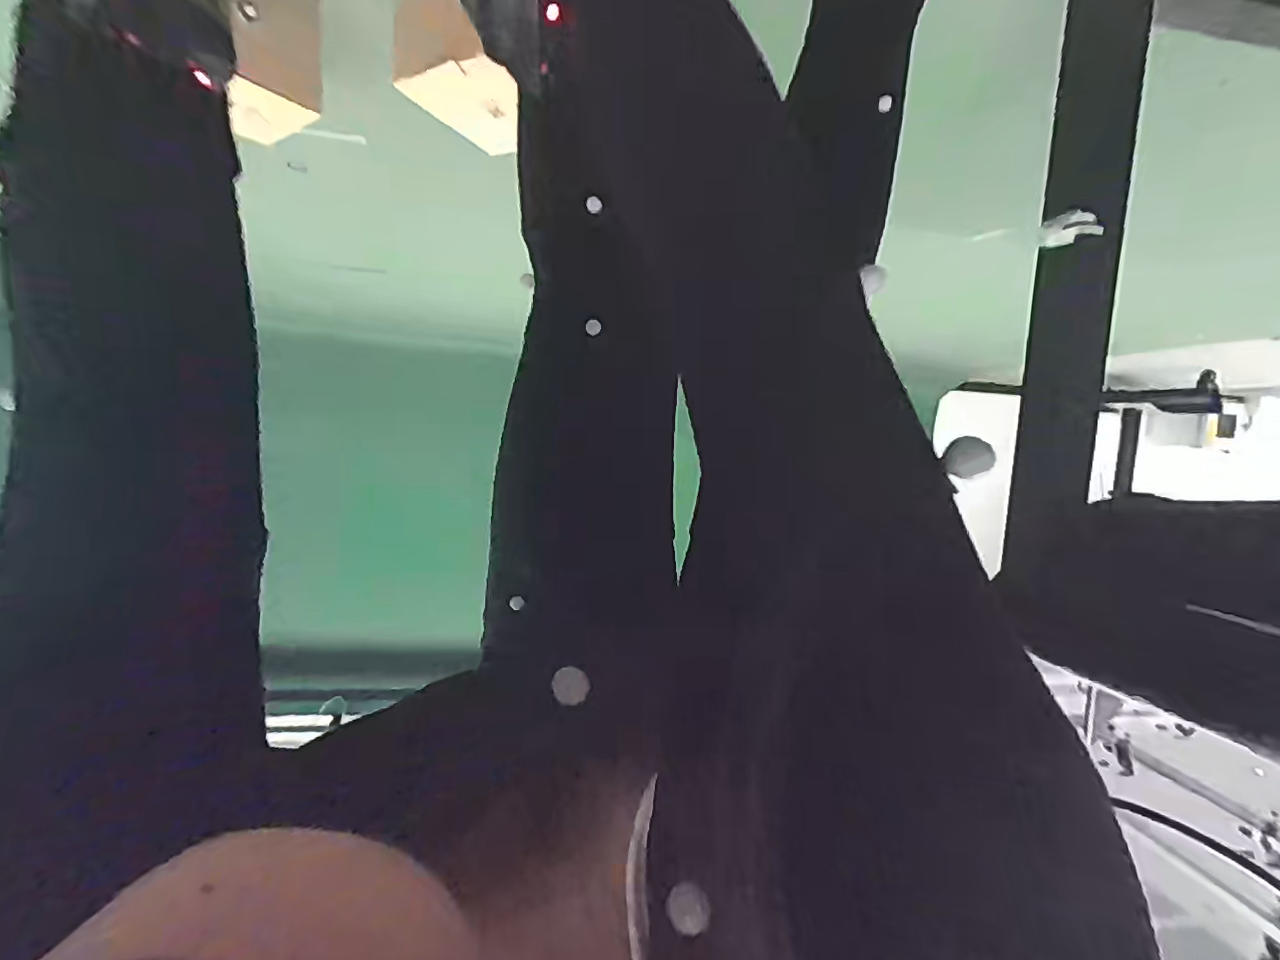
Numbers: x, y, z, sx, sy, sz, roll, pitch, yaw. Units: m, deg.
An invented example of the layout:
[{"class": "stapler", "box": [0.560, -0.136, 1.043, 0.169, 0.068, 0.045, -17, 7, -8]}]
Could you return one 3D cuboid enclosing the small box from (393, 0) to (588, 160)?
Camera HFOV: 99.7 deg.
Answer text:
[{"class": "small box", "box": [-0.177, -0.537, 0.674, 0.168, 0.176, 0.179, 6, -175, 26]}]
